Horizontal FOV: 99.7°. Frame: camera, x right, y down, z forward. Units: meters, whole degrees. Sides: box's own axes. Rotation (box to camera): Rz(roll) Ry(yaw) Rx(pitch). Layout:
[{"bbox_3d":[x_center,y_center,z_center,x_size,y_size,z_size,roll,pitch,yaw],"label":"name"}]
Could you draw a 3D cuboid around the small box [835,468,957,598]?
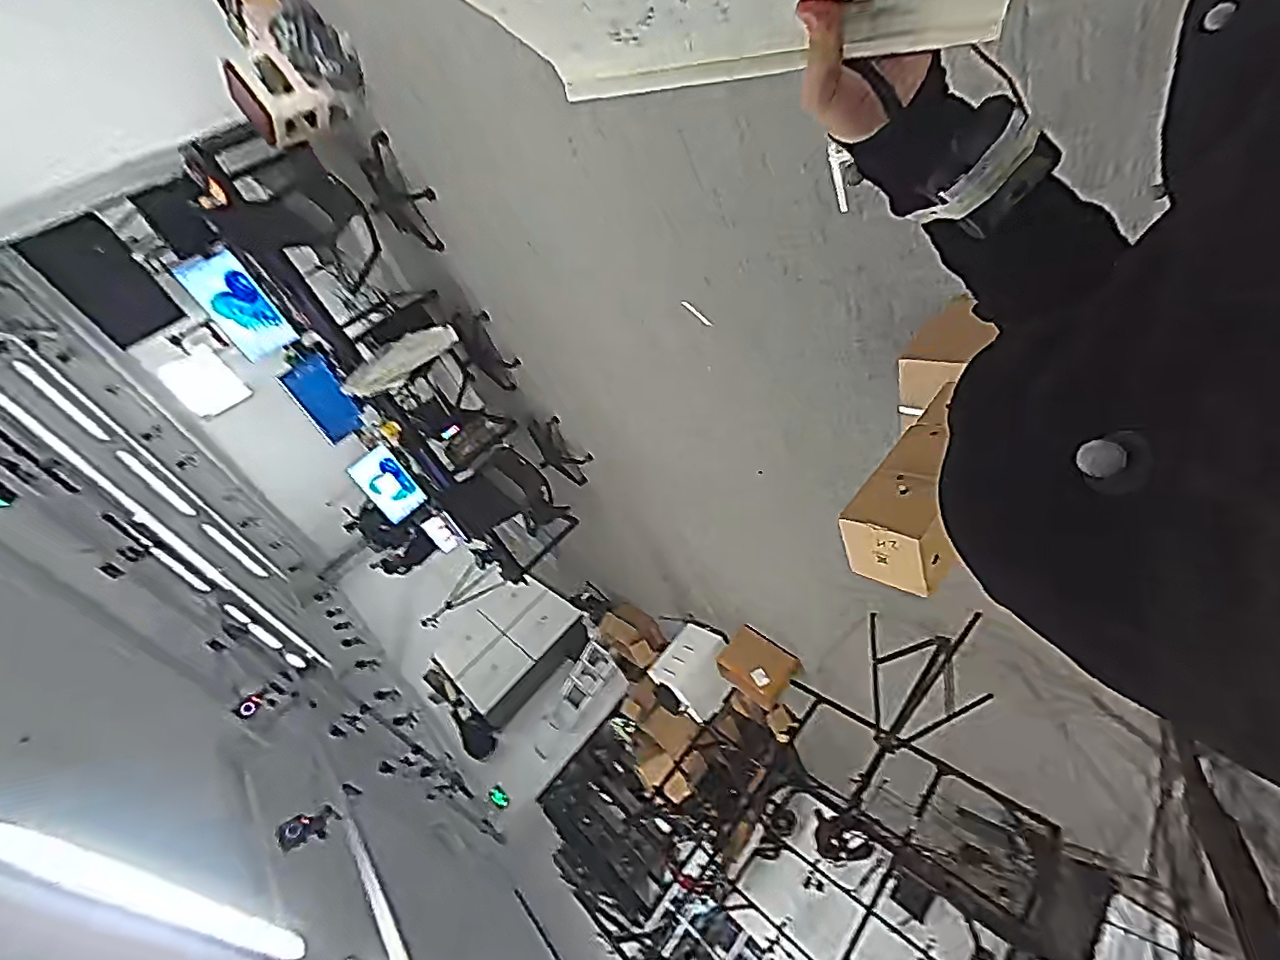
[{"bbox_3d":[0.532,0.103,1.114,0.168,0.176,0.179,18,143,47],"label":"small box"}]
